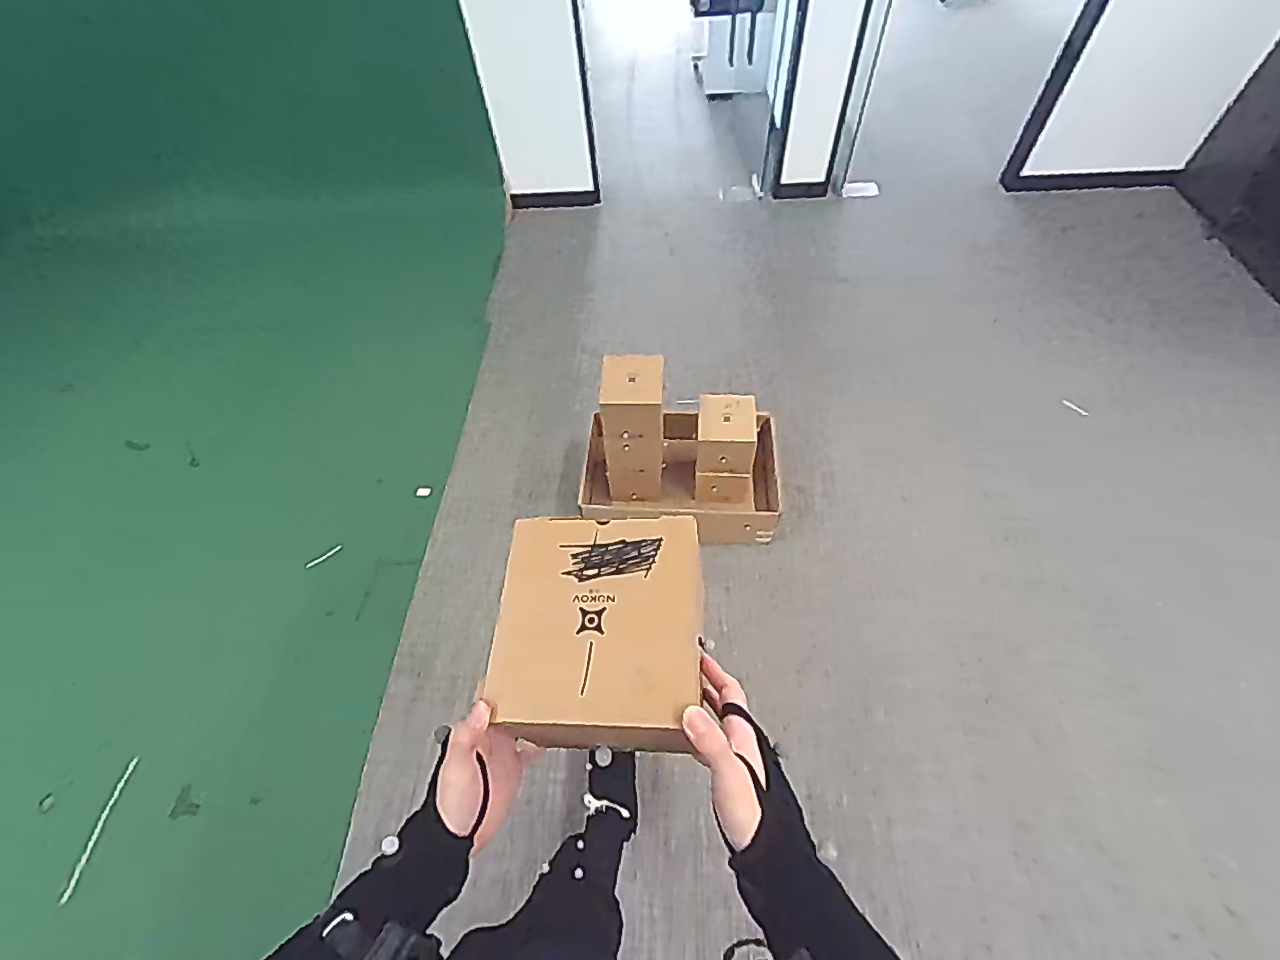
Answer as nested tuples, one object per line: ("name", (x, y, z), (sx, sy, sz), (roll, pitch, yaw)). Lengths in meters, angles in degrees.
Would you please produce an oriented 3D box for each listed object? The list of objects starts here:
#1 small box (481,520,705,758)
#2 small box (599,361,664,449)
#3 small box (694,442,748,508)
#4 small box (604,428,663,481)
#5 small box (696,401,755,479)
("small box", (-0.026, 0.153, 0.514), (0.168, 0.176, 0.179), (-1, 57, 9))
("small box", (-0.019, -0.208, 1.502), (0.168, 0.176, 0.179), (2, 57, 4))
("small box", (0.263, -0.021, 1.760), (0.168, 0.176, 0.179), (2, 56, 6))
("small box", (-0.015, -0.118, 1.639), (0.168, 0.176, 0.179), (1, 56, 3))
("small box", (0.256, -0.116, 1.625), (0.168, 0.176, 0.179), (3, 56, 6))
